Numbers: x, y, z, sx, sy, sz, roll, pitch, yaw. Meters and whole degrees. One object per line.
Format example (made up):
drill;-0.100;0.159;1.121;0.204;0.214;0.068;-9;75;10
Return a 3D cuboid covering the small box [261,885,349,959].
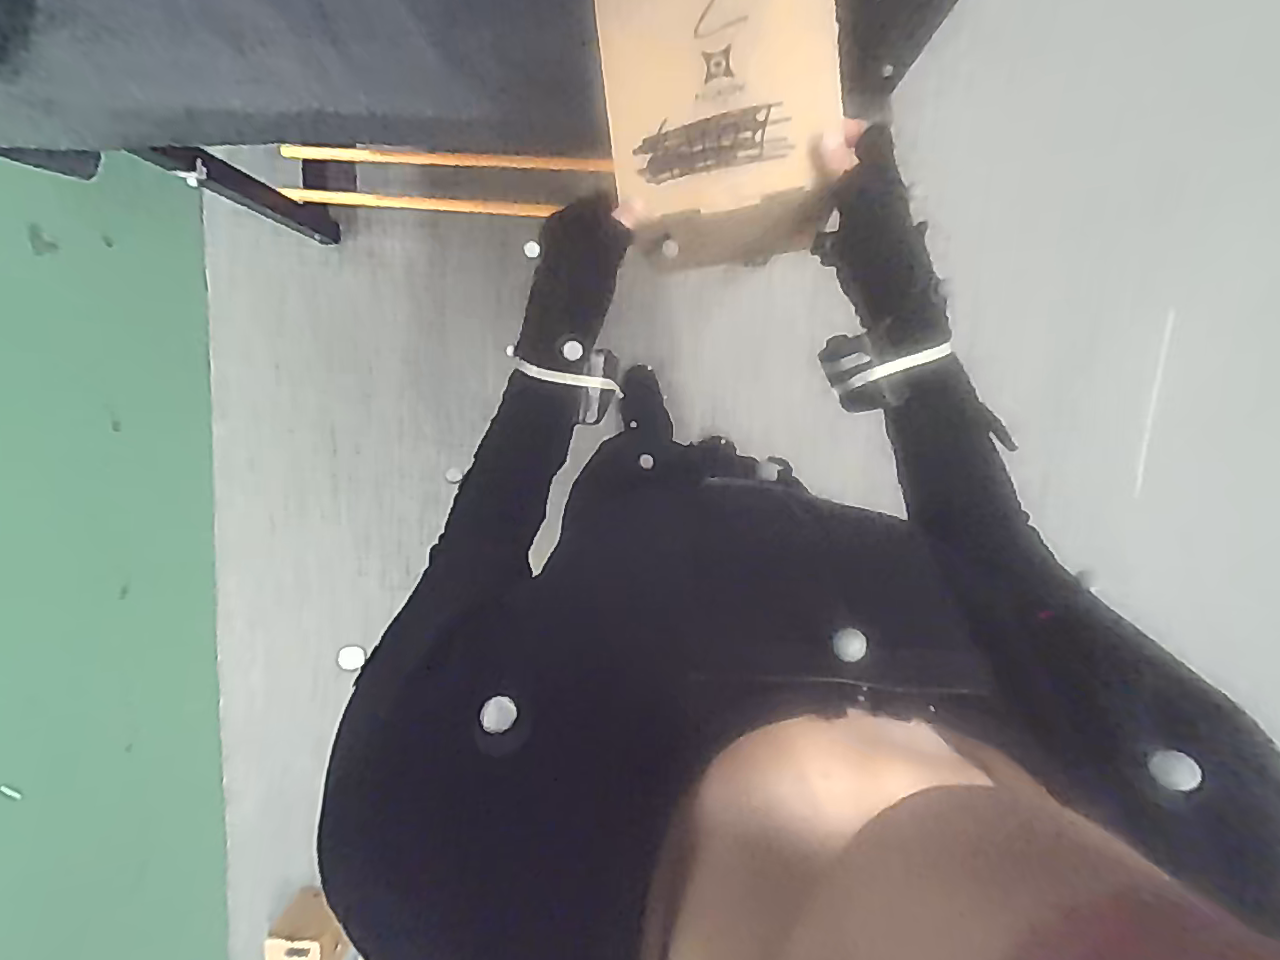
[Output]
small box;-1.002;1.368;1.626;0.168;0.176;0.179;3;98;3
